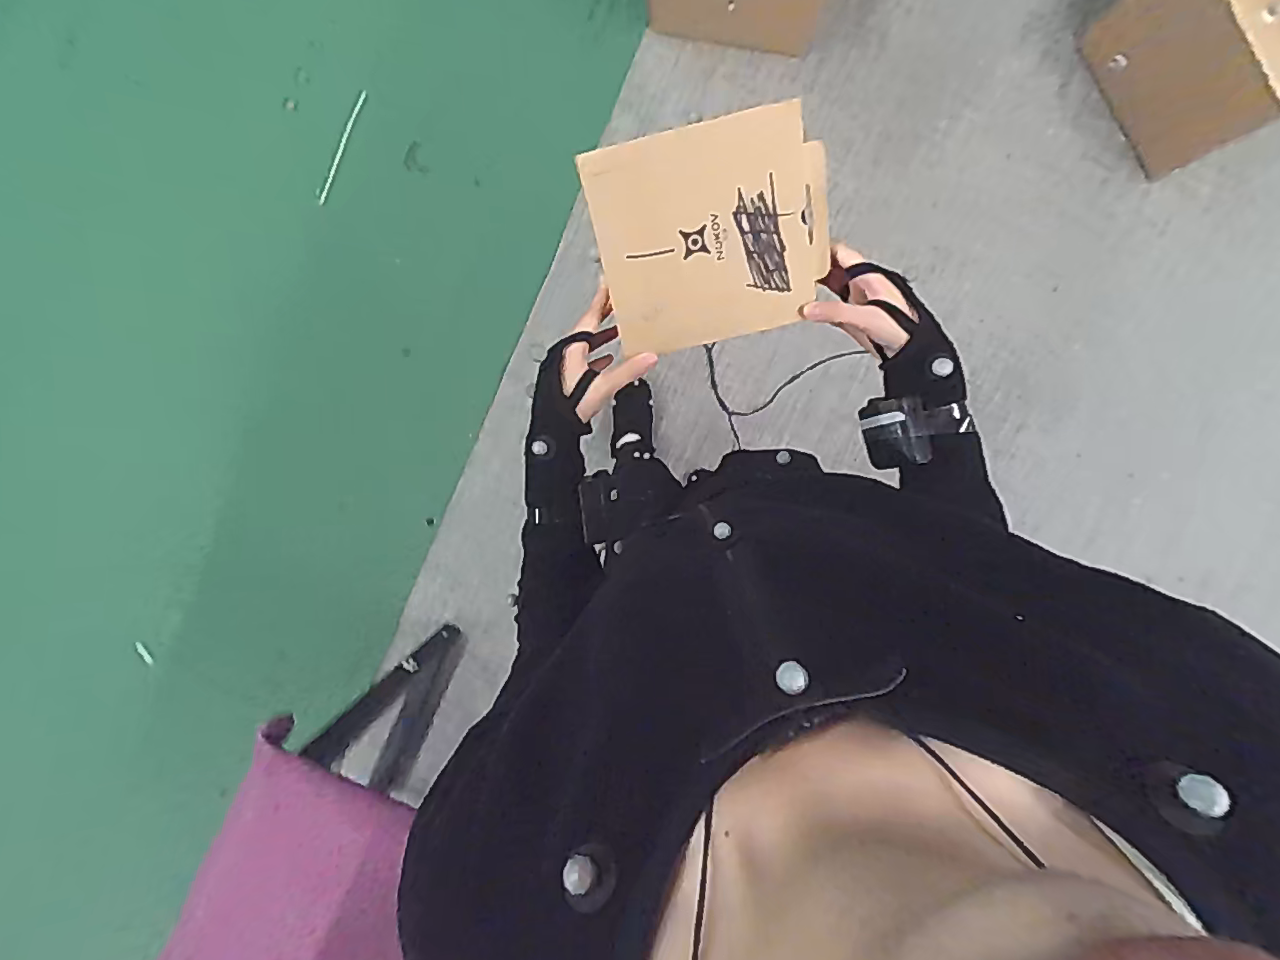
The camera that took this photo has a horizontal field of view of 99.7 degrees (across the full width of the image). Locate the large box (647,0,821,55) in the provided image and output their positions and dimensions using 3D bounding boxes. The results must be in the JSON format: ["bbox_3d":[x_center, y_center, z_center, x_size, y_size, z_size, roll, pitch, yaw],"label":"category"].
[{"bbox_3d":[0.234,-1.251,1.234,0.408,0.320,0.320,11,94,4],"label":"large box"}]

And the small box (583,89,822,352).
[{"bbox_3d":[0.053,-0.233,0.504,0.179,0.176,0.168,-12,115,4],"label":"small box"}]
